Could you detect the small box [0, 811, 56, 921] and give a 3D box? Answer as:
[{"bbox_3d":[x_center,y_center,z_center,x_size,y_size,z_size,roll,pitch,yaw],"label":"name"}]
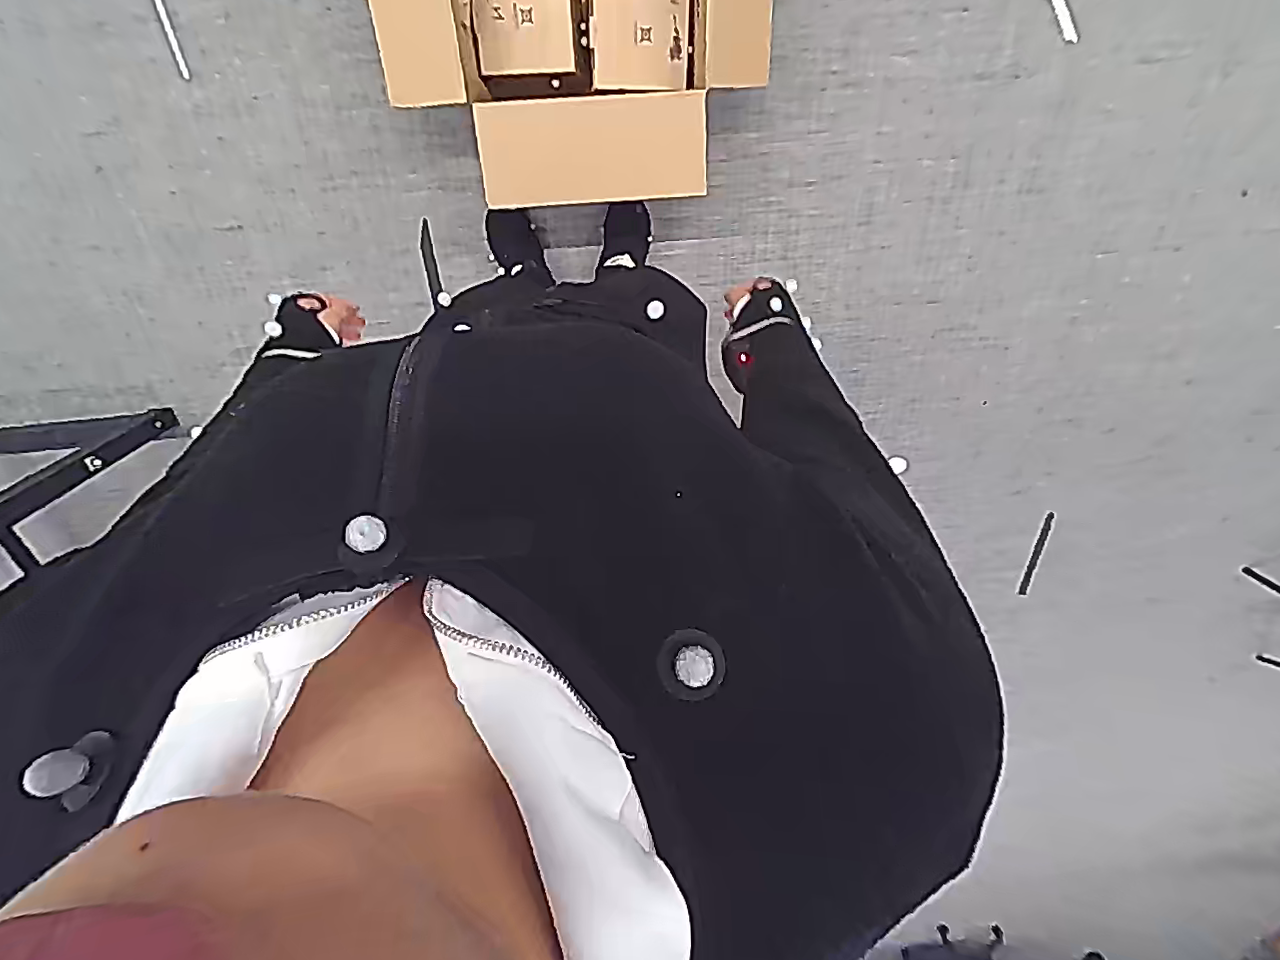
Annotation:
[{"bbox_3d":[-1.368,0.786,1.086,0.168,0.176,0.179,-4,121,-1],"label":"small box"}]
